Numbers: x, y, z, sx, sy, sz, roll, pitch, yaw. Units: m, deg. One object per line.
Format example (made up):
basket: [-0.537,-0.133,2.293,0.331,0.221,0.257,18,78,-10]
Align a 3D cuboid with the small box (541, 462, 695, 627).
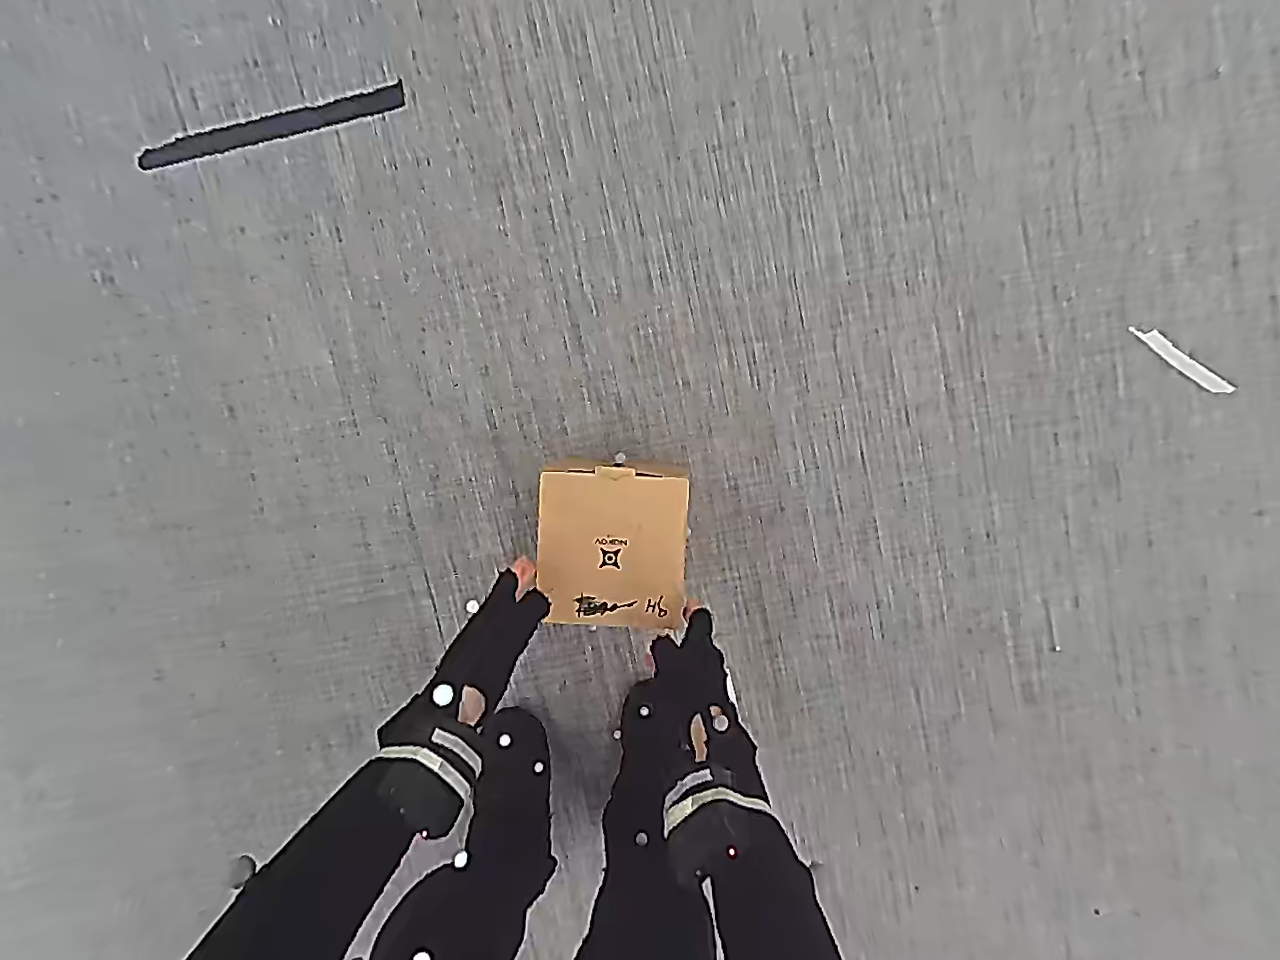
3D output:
small box: [-0.026,0.070,0.682,0.168,0.176,0.179,3,95,0]
